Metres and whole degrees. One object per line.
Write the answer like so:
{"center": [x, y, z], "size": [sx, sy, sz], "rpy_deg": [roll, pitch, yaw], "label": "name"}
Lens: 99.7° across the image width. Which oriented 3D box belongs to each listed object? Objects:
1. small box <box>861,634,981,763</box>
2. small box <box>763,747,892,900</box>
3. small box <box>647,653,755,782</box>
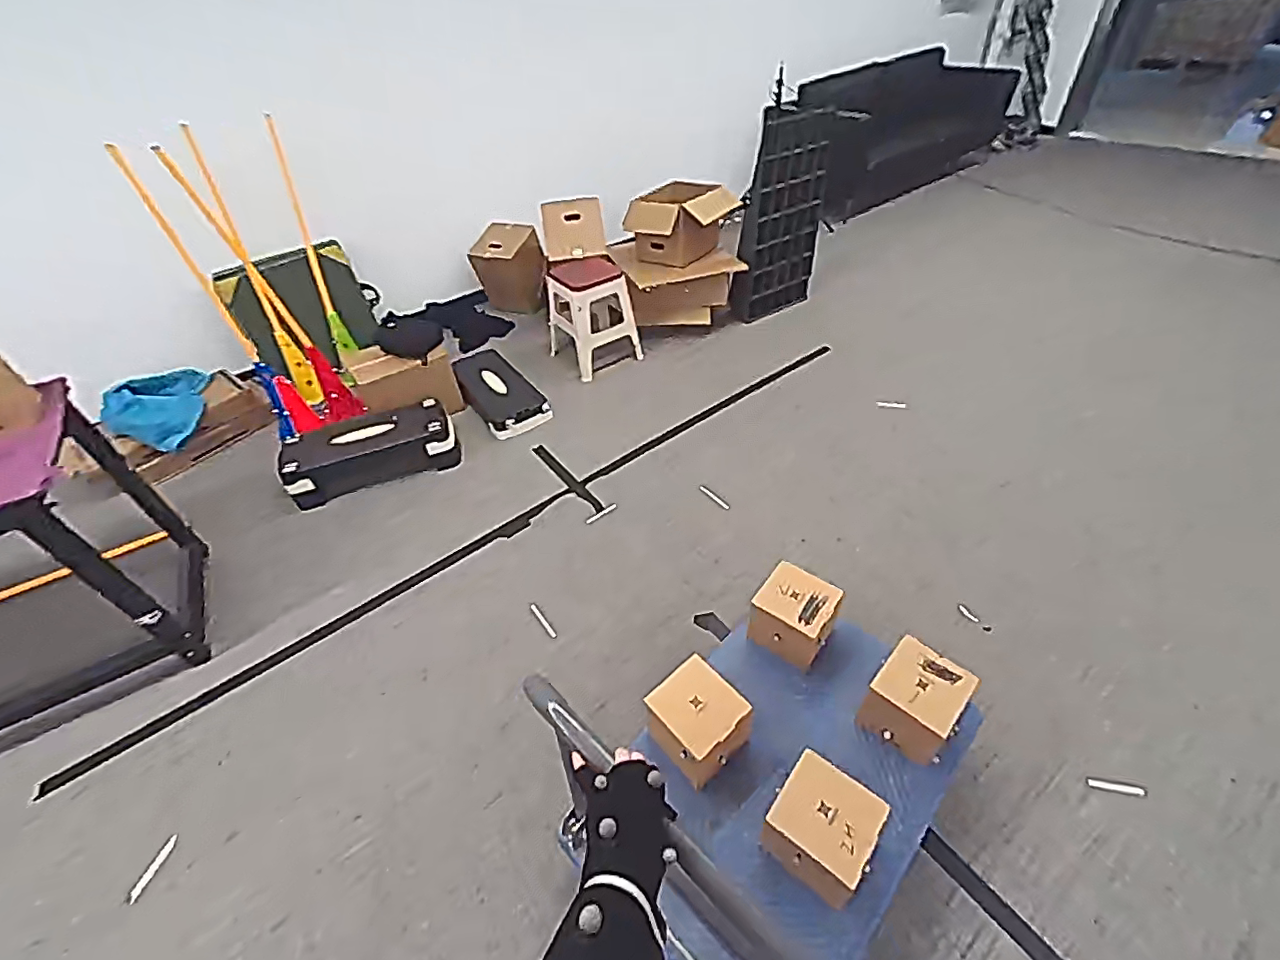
{"center": [0.623, 0.493, 1.220], "size": [0.179, 0.176, 0.168], "rpy_deg": [-37, 51, -28], "label": "small box"}
{"center": [0.356, 0.673, 1.056], "size": [0.179, 0.176, 0.168], "rpy_deg": [28, 53, 31], "label": "small box"}
{"center": [0.132, 0.538, 1.221], "size": [0.168, 0.176, 0.179], "rpy_deg": [-33, 51, -27], "label": "small box"}
